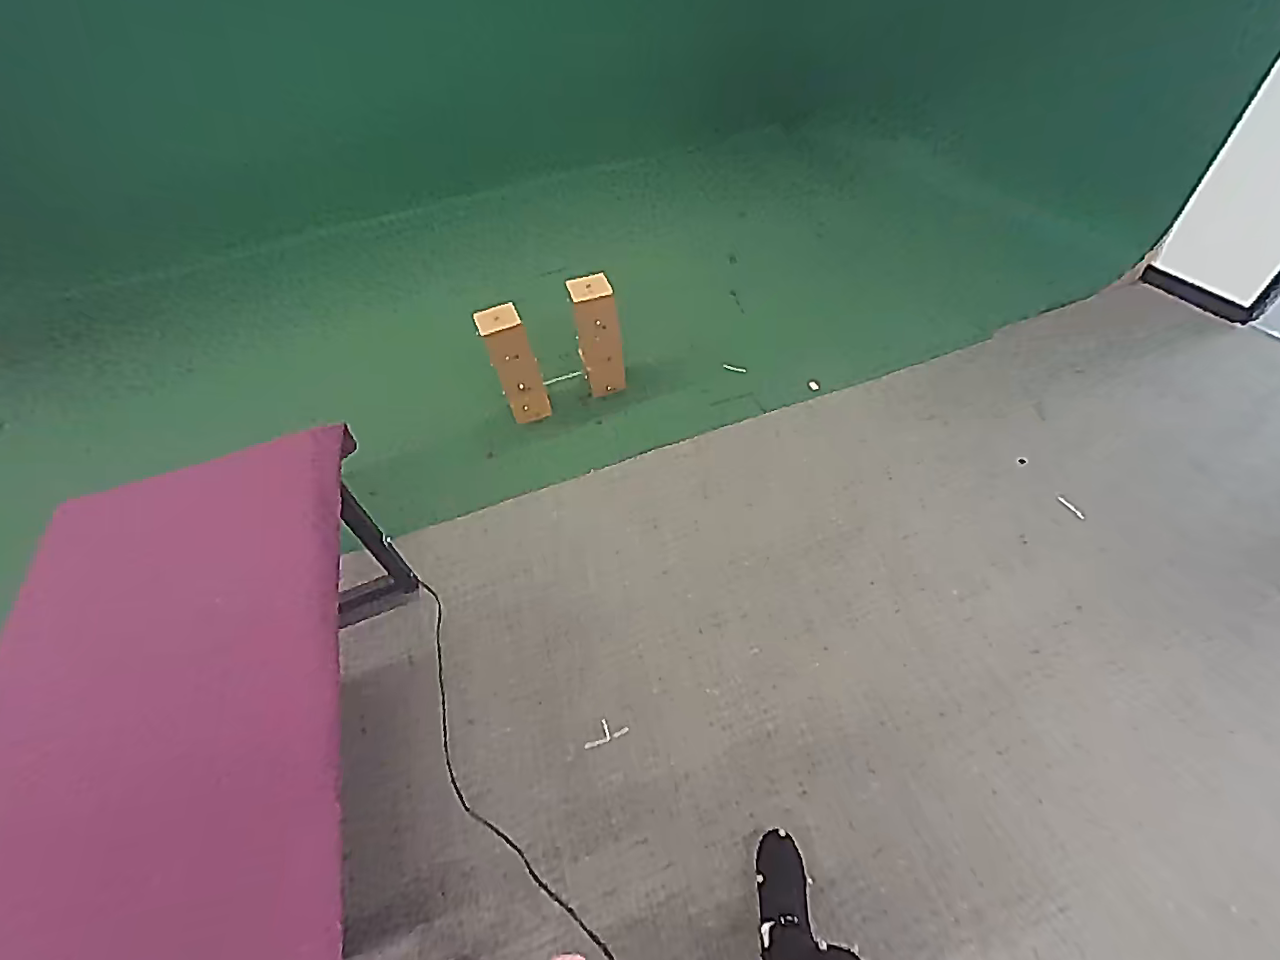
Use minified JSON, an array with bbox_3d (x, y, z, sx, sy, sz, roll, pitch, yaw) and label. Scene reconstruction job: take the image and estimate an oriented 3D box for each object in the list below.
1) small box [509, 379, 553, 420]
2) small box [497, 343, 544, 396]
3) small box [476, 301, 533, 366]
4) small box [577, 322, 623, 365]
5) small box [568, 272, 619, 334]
[{"bbox_3d":[-0.502,-0.390,2.442,0.168,0.176,0.179,-18,49,-8],"label":"small box"},{"bbox_3d":[-0.524,-0.489,2.313,0.168,0.176,0.179,-21,50,-10],"label":"small box"},{"bbox_3d":[-0.547,-0.591,2.188,0.168,0.176,0.179,-21,50,-9],"label":"small box"},{"bbox_3d":[-0.178,-0.638,2.393,0.168,0.176,0.179,-16,49,-7],"label":"small box"},{"bbox_3d":[-0.194,-0.741,2.265,0.168,0.176,0.179,-16,50,-7],"label":"small box"}]
